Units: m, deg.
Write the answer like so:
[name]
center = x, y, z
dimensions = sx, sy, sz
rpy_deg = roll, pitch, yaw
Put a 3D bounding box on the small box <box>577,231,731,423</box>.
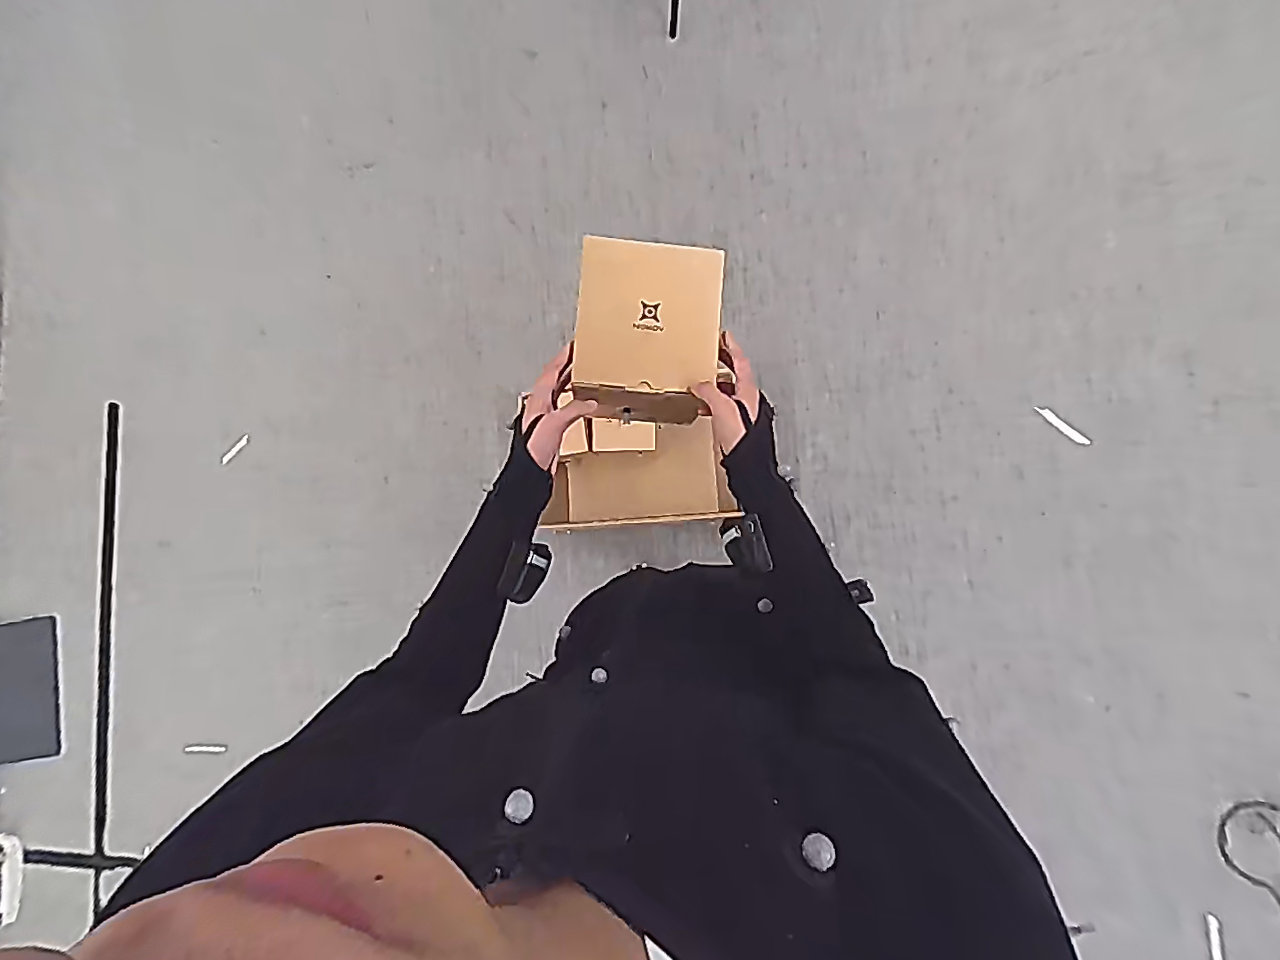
[small box]
center = 0.010, -0.180, 0.684
dimensions = 0.168, 0.176, 0.179
rpy_deg = 5, 85, -4
